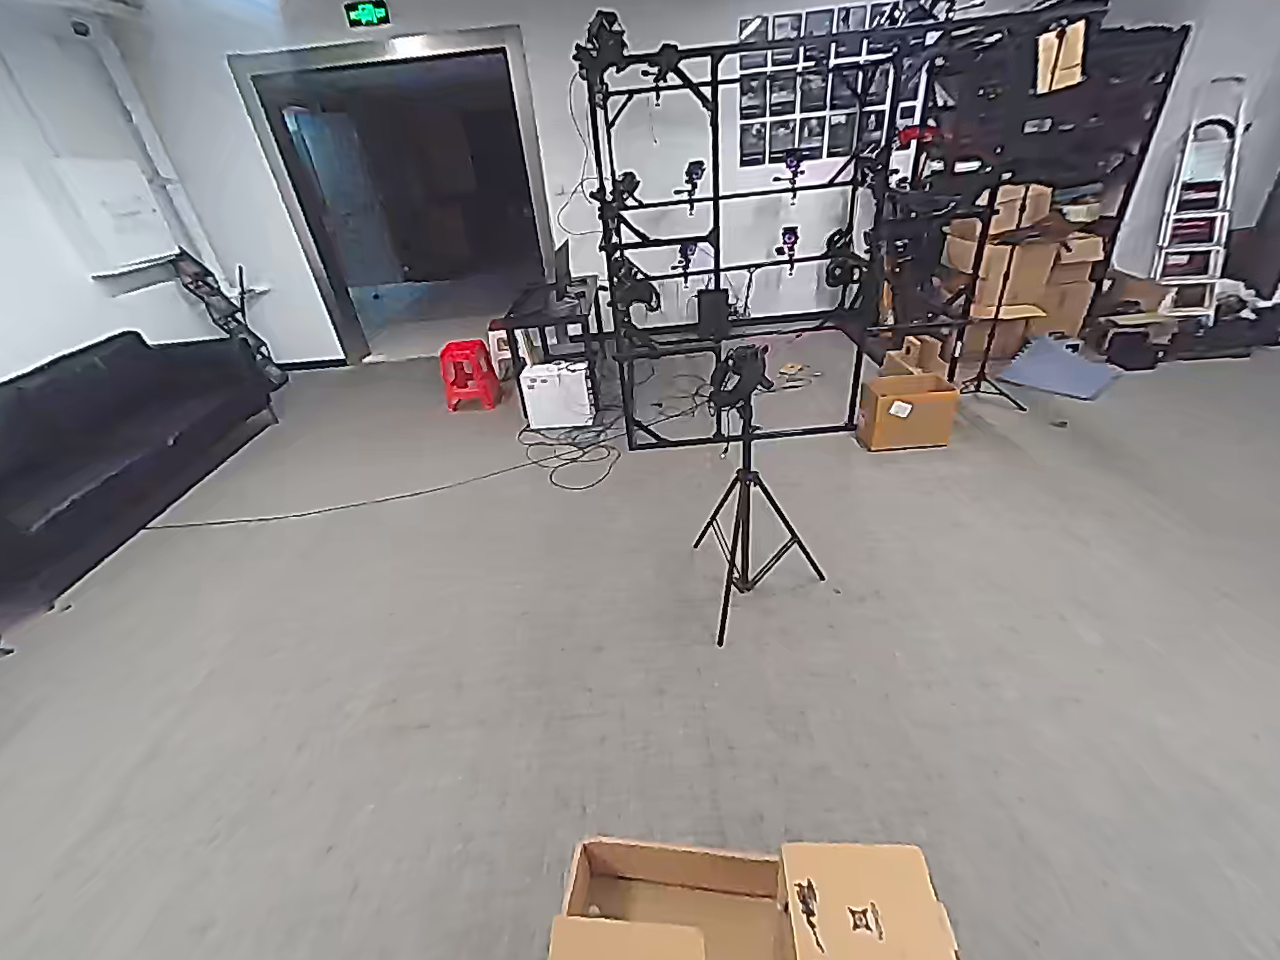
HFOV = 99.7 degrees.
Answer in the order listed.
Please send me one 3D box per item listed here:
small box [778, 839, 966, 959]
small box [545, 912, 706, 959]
[{"bbox_3d":[0.268,0.567,0.650,0.179,0.176,0.168,-2,30,6],"label":"small box"},{"bbox_3d":[-0.023,0.607,0.600,0.179,0.176,0.168,6,42,-1],"label":"small box"}]
